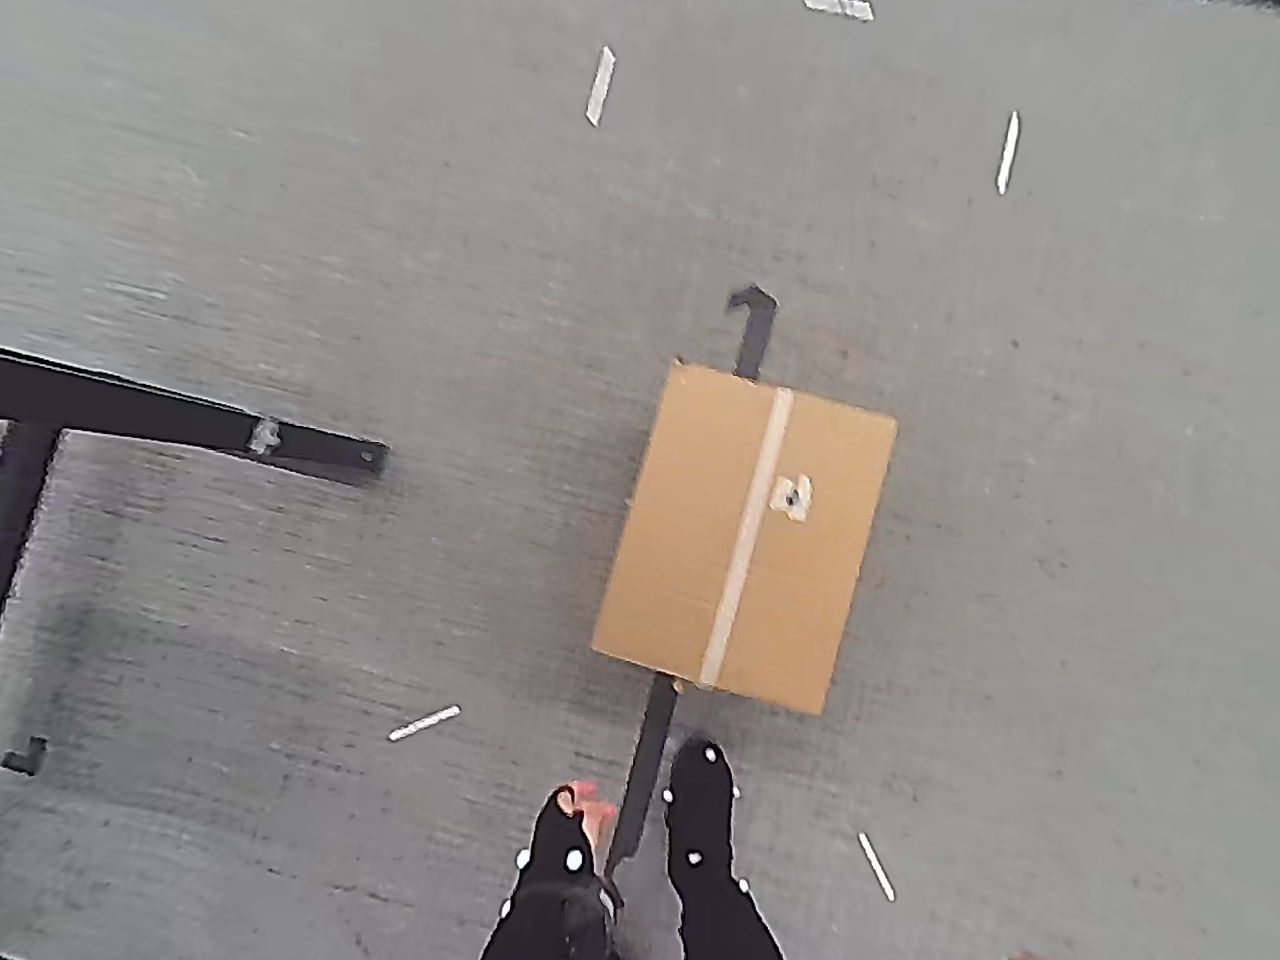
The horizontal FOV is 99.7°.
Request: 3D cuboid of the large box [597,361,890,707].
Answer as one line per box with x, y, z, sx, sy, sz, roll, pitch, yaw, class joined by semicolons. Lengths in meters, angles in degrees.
0.142;0.079;0.864;0.320;0.320;0.408;16;86;2;large box
